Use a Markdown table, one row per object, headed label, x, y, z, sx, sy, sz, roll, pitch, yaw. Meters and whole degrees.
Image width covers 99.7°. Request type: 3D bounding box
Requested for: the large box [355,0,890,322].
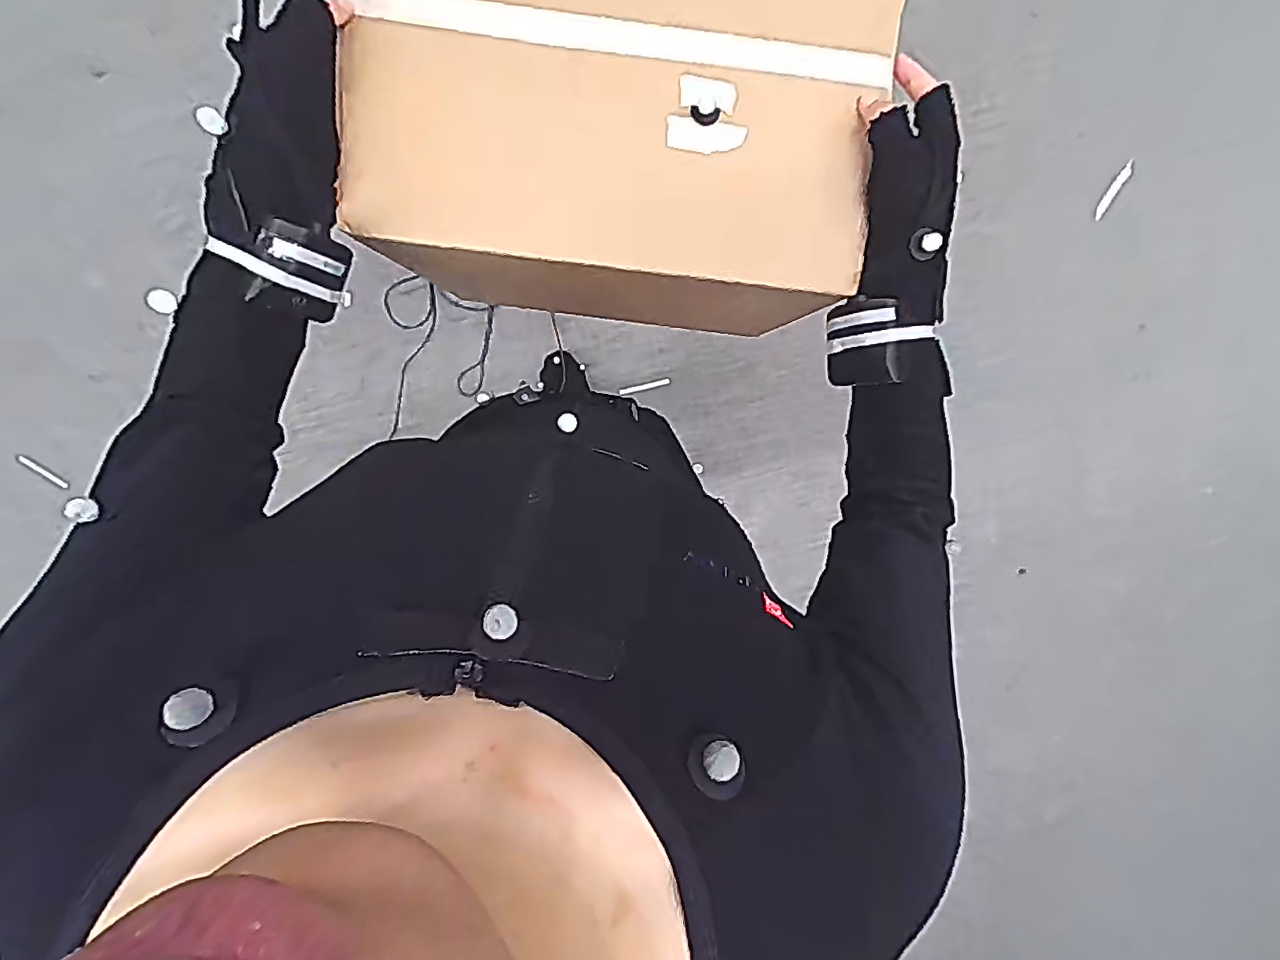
| label | x | y | z | sx | sy | sz | roll | pitch | yaw |
| --- | --- | --- | --- | --- | --- | --- | --- | --- | --- |
| large box | -0.020 | -0.356 | 0.556 | 0.408 | 0.320 | 0.320 | 5 | 99 | -3 |
